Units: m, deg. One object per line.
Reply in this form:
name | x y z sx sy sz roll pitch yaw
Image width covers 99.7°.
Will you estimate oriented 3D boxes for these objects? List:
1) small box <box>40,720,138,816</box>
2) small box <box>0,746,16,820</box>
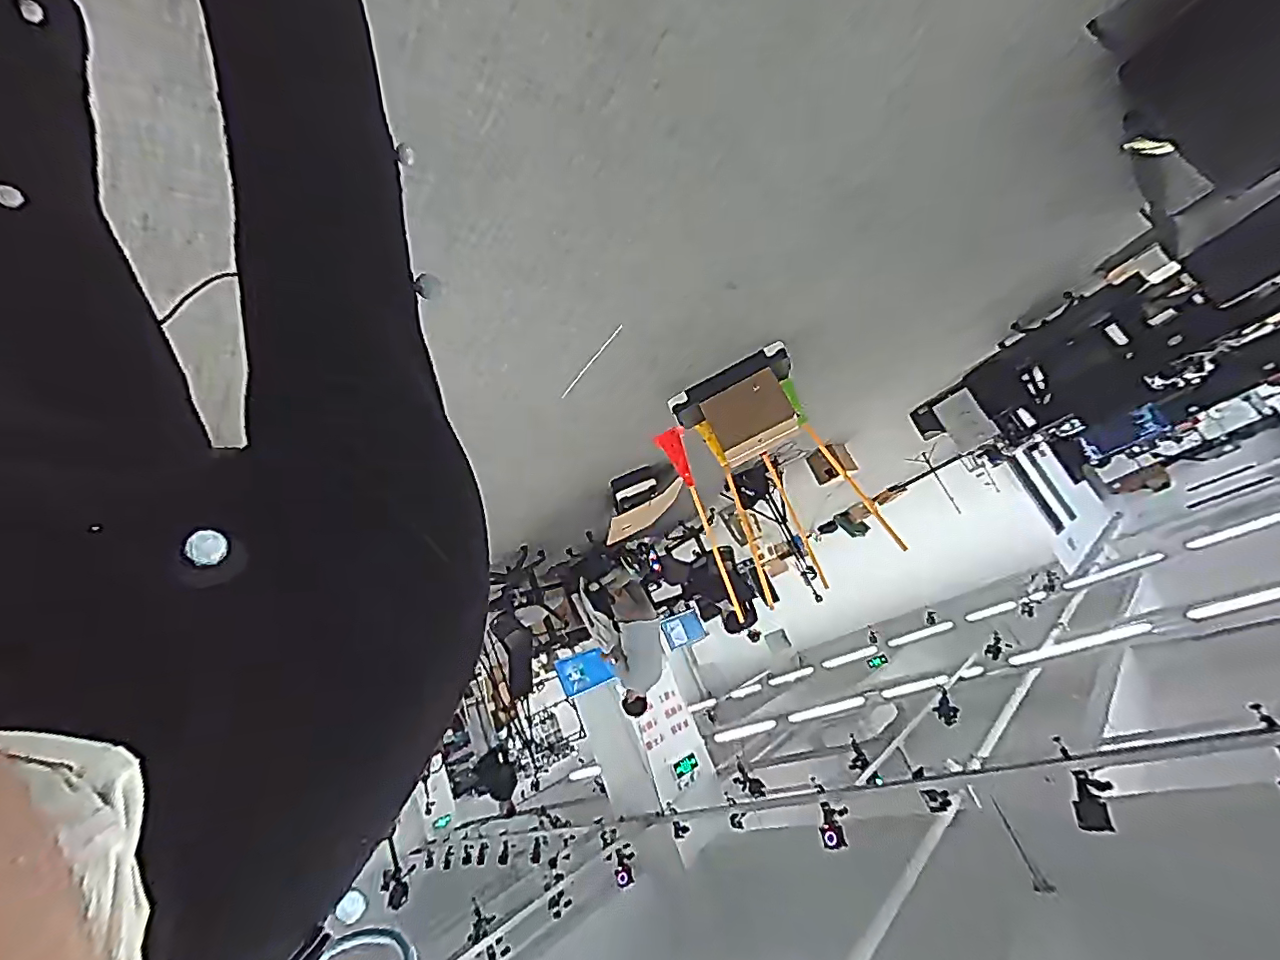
small box | -1.554 0.806 1.523 0.168 0.176 0.179 -36 159 33
small box | -1.568 0.714 1.224 0.168 0.176 0.179 -12 160 -37
